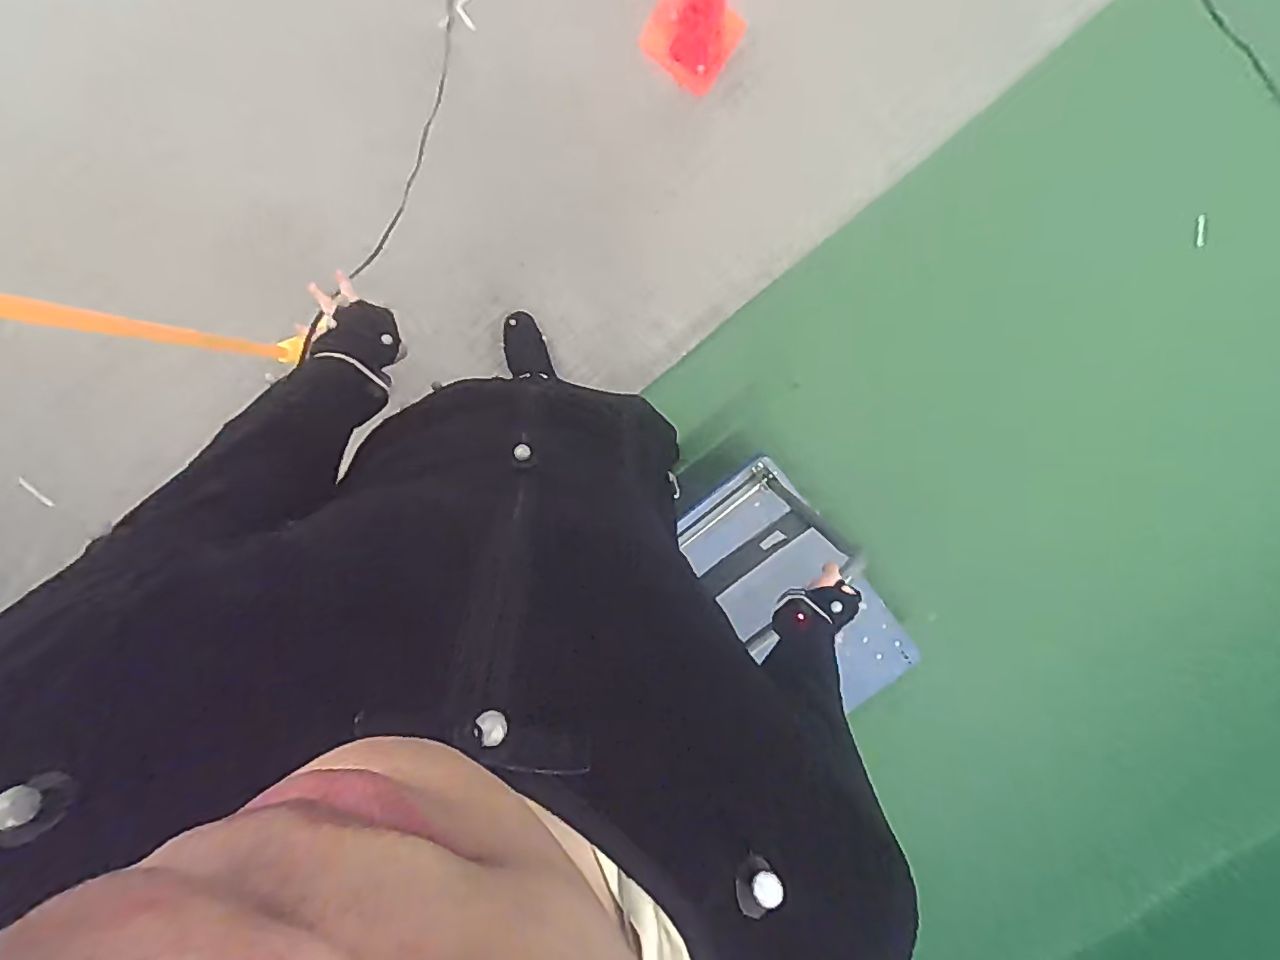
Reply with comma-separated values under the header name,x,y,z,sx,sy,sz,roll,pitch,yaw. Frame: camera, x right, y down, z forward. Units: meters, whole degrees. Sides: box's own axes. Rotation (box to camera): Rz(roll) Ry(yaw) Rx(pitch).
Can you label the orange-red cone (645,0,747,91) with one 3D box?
name,x,y,z,sx,sy,sz,roll,pitch,yaw
orange-red cone,0.154,-1.055,1.163,0.198,0.360,0.199,34,99,-14
